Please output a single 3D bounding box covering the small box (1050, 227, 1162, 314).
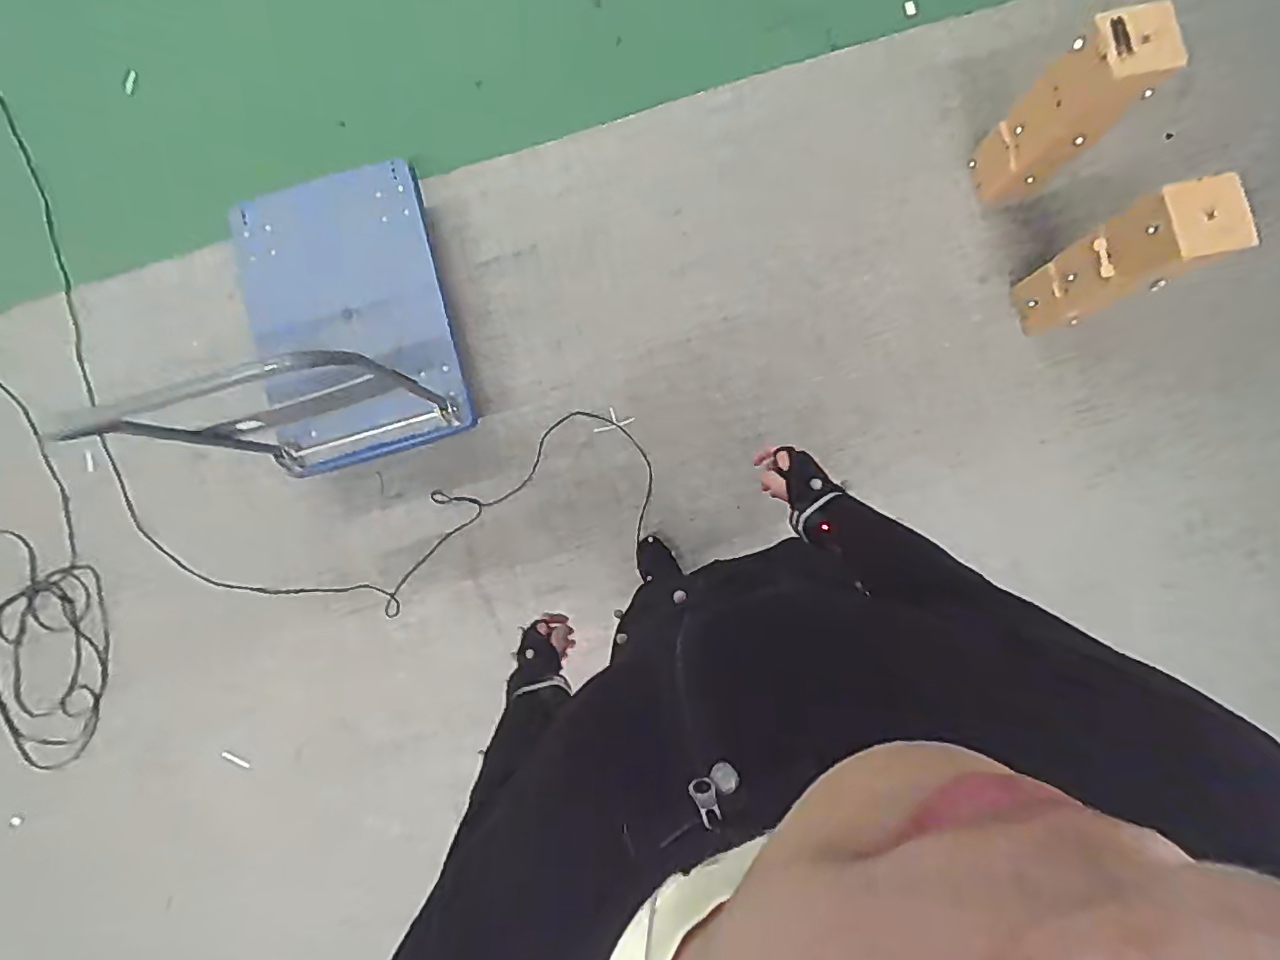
[{"bbox_3d":[1.243,-0.558,1.429,0.179,0.176,0.168,-9,83,1],"label":"small box"}]

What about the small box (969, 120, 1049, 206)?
[{"bbox_3d":[1.133,-0.961,1.638,0.179,0.176,0.168,-11,84,0],"label":"small box"}]

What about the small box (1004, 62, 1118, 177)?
[{"bbox_3d":[1.145,-0.983,1.485,0.168,0.176,0.179,21,85,6],"label":"small box"}]

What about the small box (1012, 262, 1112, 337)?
[{"bbox_3d":[1.240,-0.539,1.592,0.179,0.176,0.168,-13,84,1],"label":"small box"}]

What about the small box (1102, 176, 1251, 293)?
[{"bbox_3d":[1.238,-0.567,1.266,0.168,0.176,0.179,-9,84,2],"label":"small box"}]
